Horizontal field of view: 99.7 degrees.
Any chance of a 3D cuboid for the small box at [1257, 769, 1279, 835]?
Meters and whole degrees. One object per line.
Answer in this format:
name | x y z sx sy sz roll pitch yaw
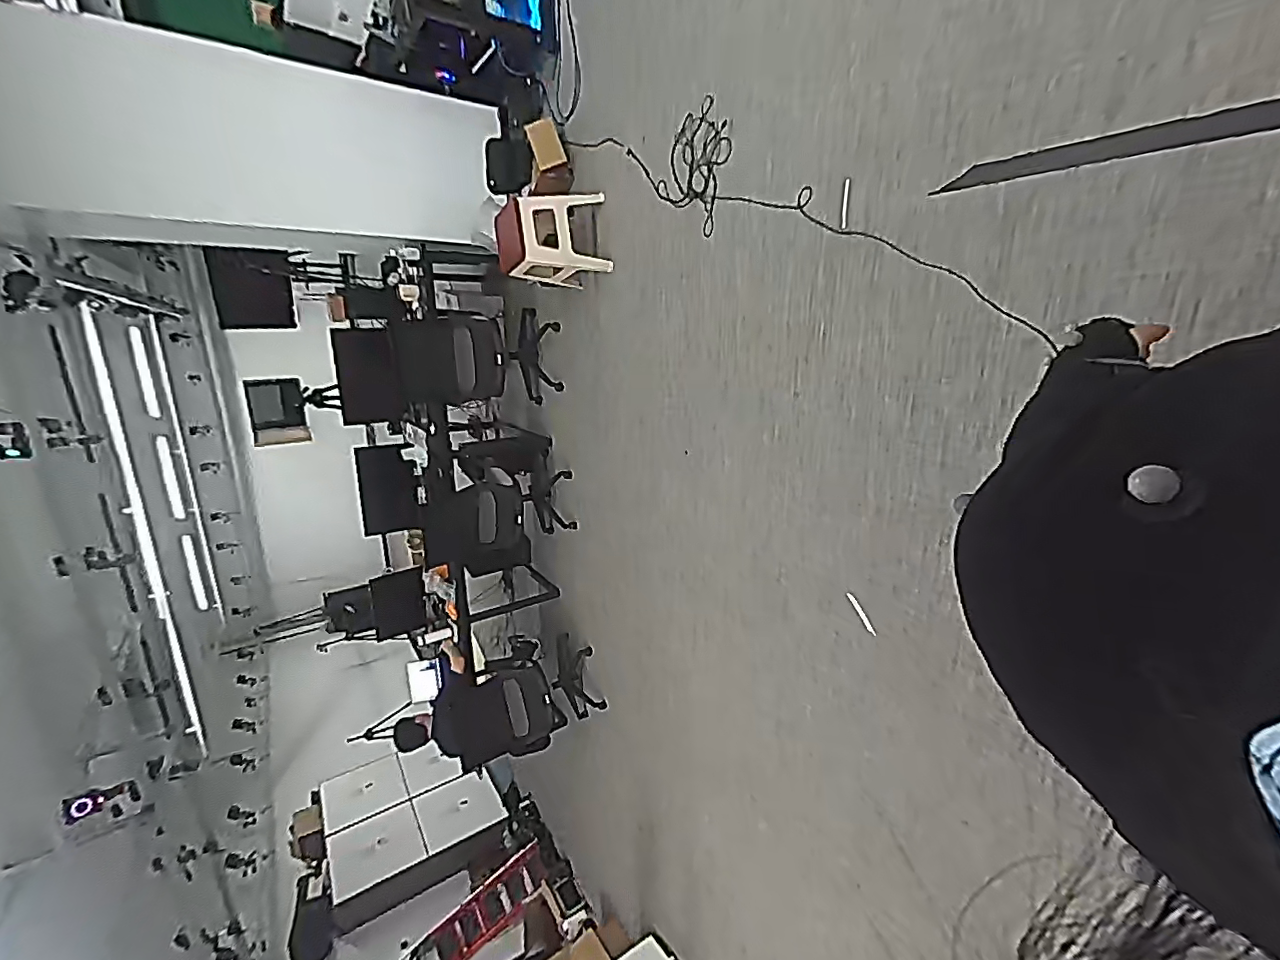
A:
small box | 1.119 0.488 0.831 0.168 0.176 0.179 27 121 50
